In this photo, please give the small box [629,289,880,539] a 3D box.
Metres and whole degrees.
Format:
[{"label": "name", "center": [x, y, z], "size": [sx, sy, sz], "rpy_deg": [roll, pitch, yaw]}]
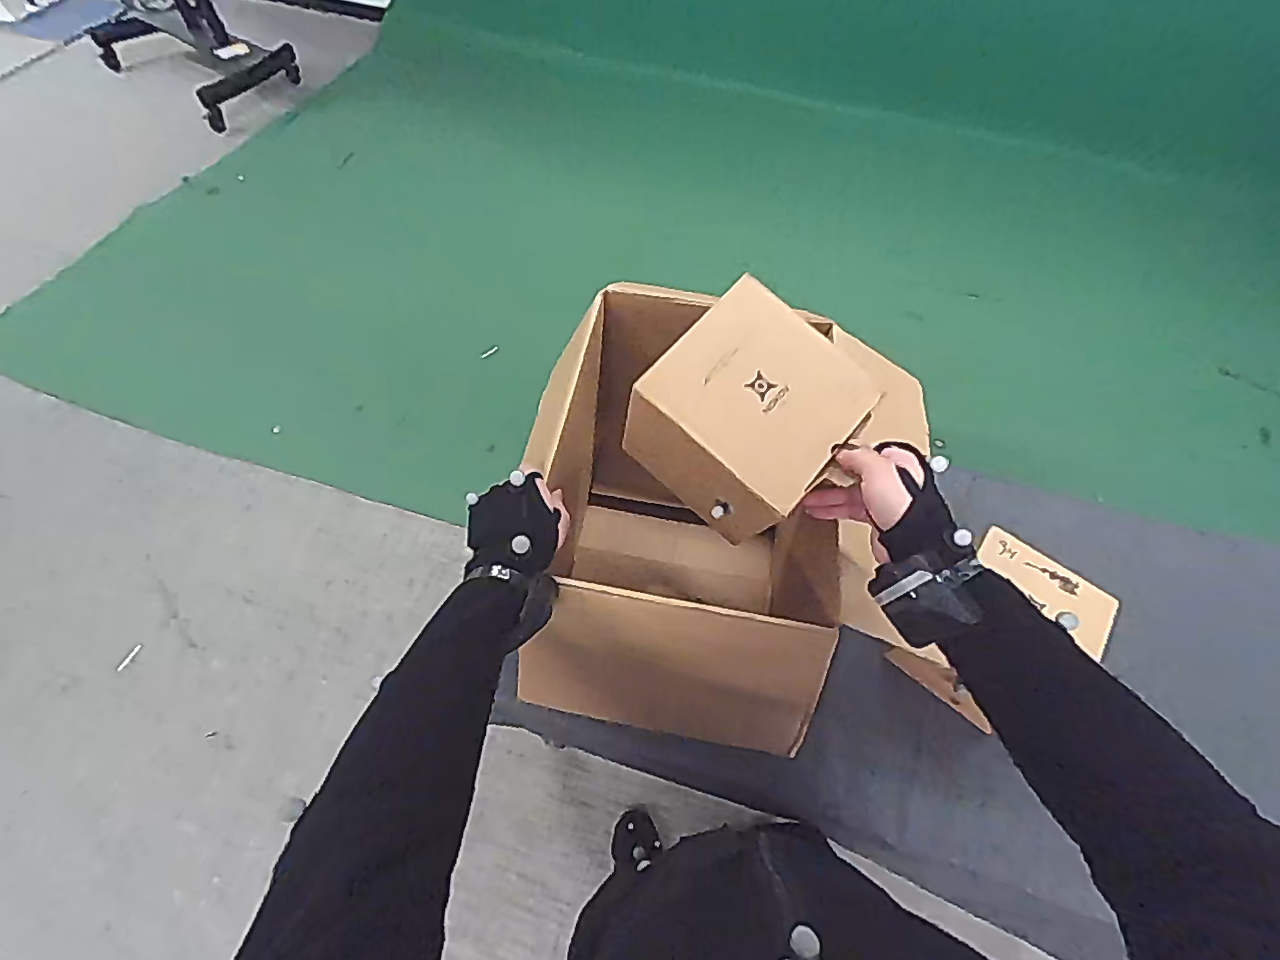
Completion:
[{"label": "small box", "center": [0.105, -0.055, 0.574], "size": [0.179, 0.176, 0.168], "rpy_deg": [40, 74, 9]}]
